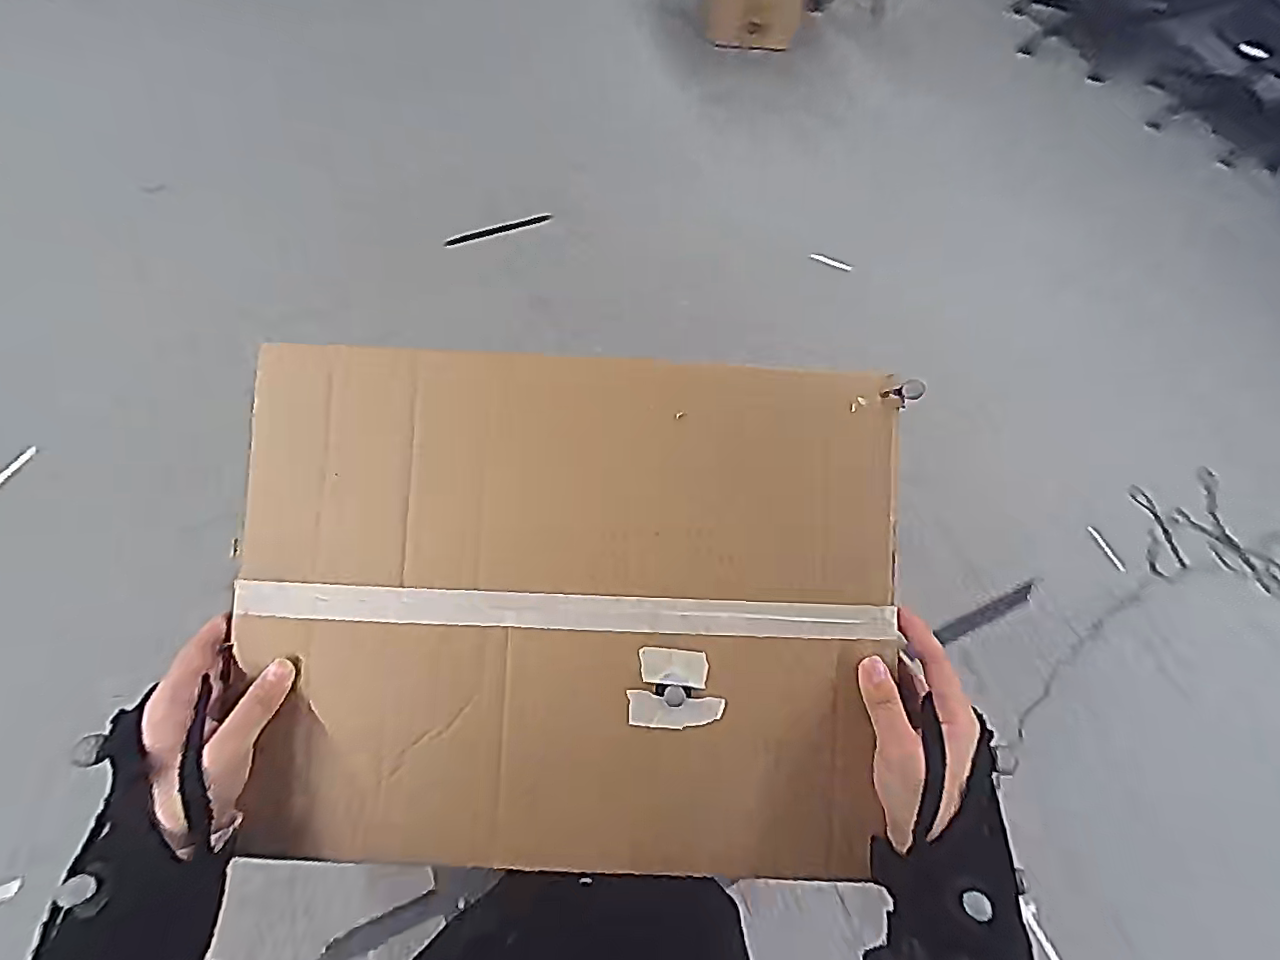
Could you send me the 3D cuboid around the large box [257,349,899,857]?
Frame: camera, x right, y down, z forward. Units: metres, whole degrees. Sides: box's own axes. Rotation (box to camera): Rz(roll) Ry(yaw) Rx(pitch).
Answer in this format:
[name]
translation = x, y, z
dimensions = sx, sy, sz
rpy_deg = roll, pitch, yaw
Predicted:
[large box]
translation = -0.037, 0.085, 0.495
dimensions = 0.408, 0.320, 0.320
rpy_deg = 4, 88, 0
